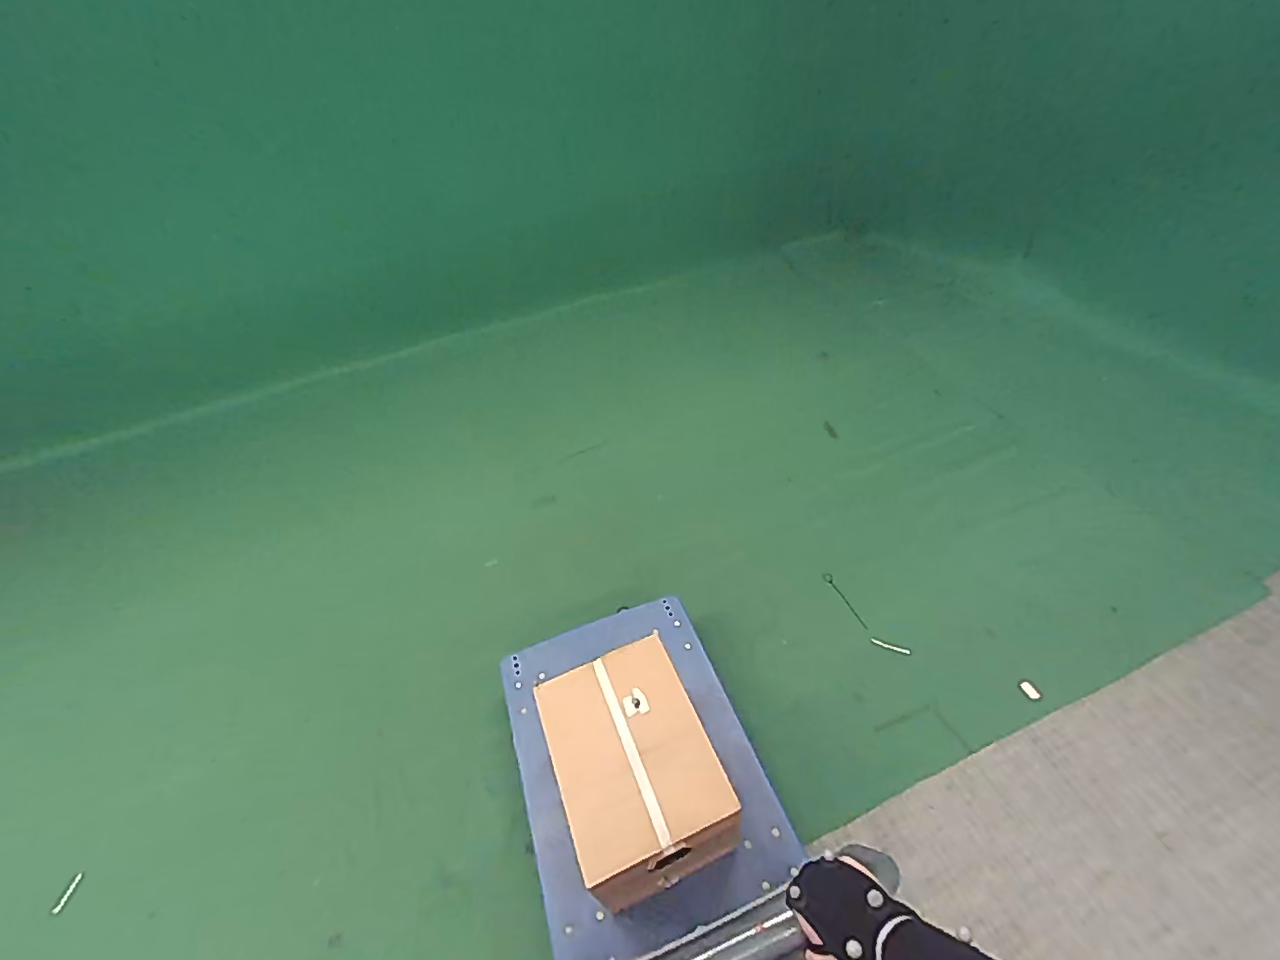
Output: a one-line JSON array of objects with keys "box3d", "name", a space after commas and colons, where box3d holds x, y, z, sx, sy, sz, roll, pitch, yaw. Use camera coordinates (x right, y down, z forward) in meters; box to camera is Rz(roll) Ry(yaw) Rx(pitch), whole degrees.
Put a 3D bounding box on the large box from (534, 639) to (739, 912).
[{"box3d": [-0.007, 0.658, 1.227, 0.320, 0.320, 0.408, -20, 45, -12], "name": "large box"}]
